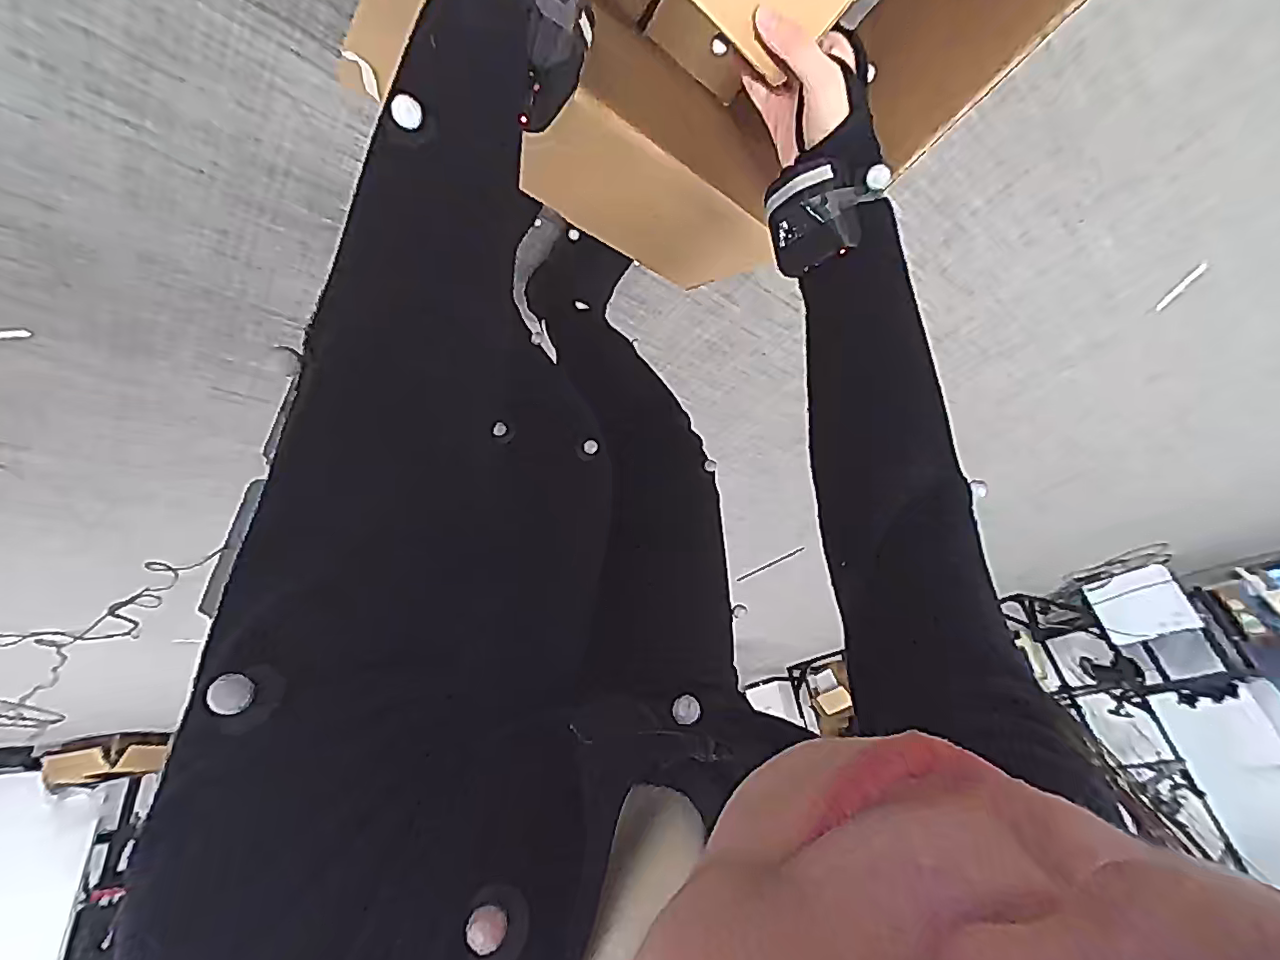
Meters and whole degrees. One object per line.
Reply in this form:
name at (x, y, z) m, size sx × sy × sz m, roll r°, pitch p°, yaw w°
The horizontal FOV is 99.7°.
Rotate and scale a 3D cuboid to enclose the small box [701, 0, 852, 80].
small box at (0.063, -0.391, 0.300) m, size 0.179 × 0.176 × 0.168 m, roll 8°, pitch 147°, yaw -41°
